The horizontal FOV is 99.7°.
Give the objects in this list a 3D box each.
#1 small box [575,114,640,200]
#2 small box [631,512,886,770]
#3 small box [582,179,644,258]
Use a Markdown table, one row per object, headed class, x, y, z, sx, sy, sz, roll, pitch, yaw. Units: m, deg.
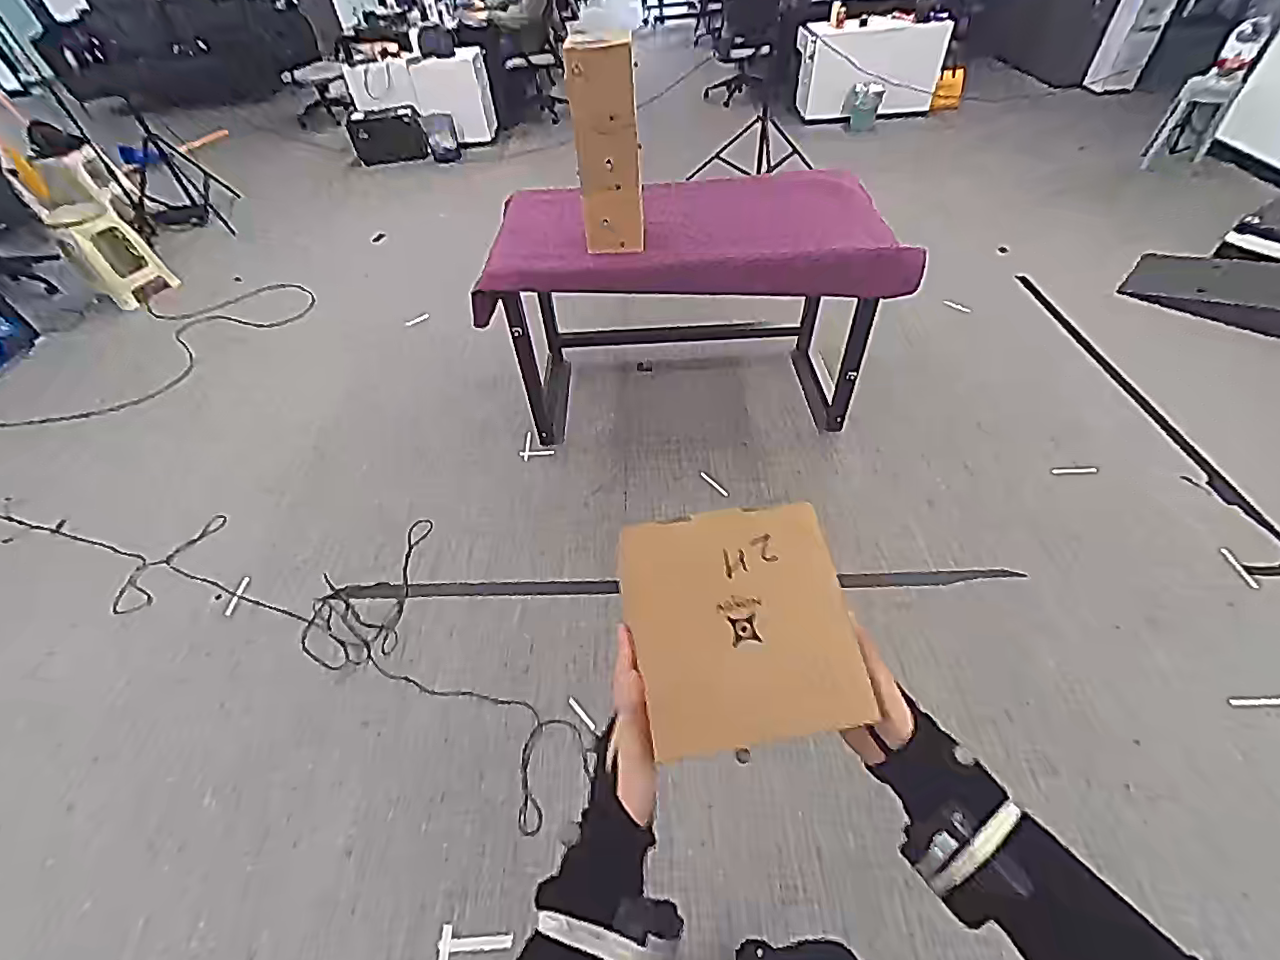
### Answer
| class | x | y | z | sx | sy | sz | roll | pitch | yaw |
| --- | --- | --- | --- | --- | --- | --- | --- | --- | --- |
| small box | -0.086 | -0.900 | 1.516 | 0.168 | 0.176 | 0.179 | -3 | 48 | 1 |
| small box | 0.084 | 0.148 | 0.490 | 0.168 | 0.176 | 0.179 | -7 | 64 | -6 |
| small box | -0.075 | -0.786 | 1.633 | 0.168 | 0.176 | 0.179 | -1 | 47 | 3 |
